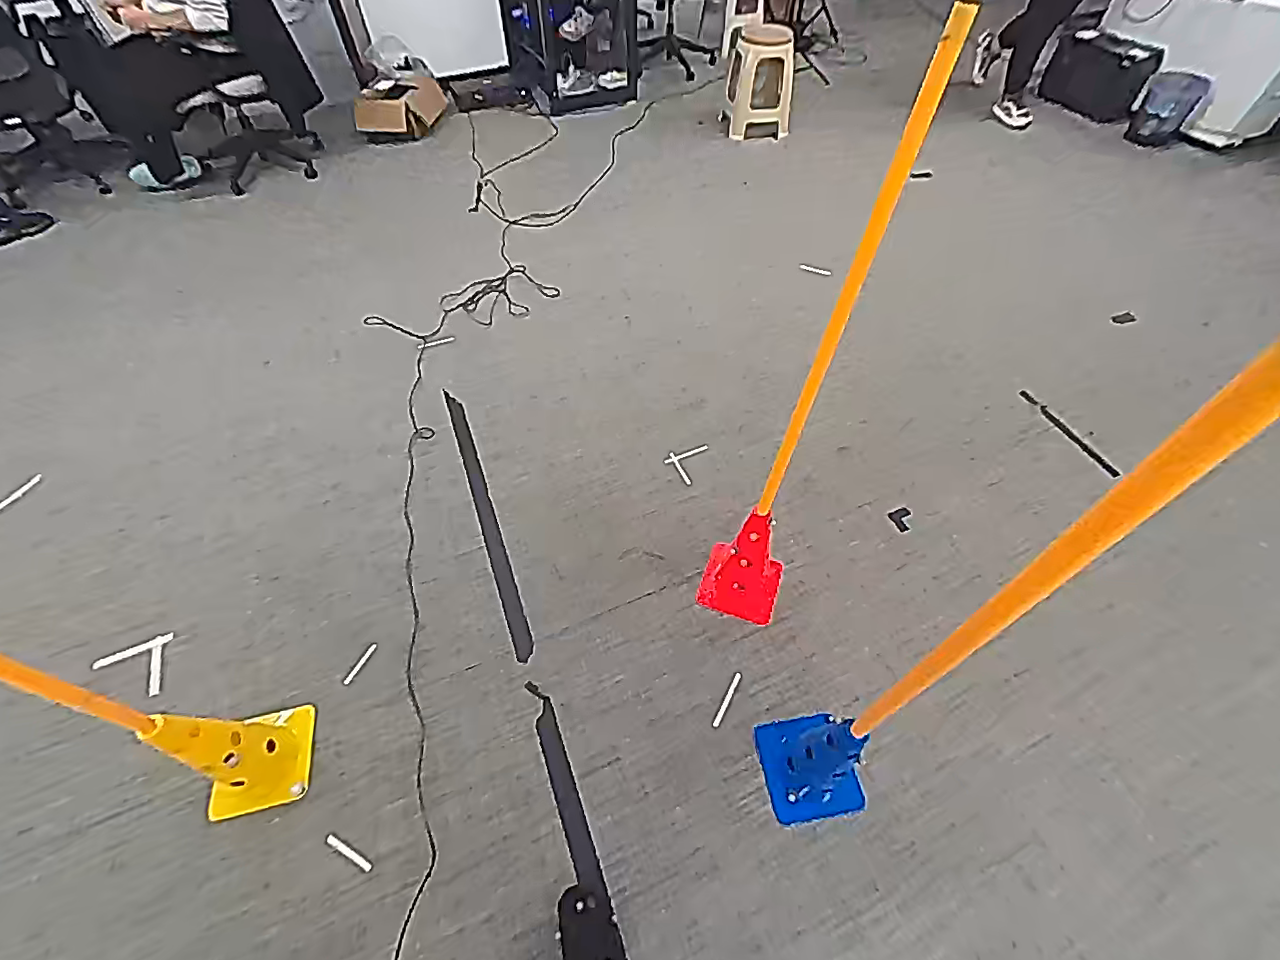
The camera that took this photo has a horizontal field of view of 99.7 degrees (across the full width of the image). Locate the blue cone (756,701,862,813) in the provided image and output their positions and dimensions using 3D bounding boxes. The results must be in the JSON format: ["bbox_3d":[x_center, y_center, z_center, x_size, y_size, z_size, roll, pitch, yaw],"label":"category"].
[{"bbox_3d":[0.365,0.516,1.060,0.193,0.380,0.192,-6,53,-4],"label":"blue cone"}]

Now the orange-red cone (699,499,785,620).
[{"bbox_3d":[0.270,0.161,1.309,0.198,0.360,0.199,18,57,14],"label":"orange-red cone"}]
